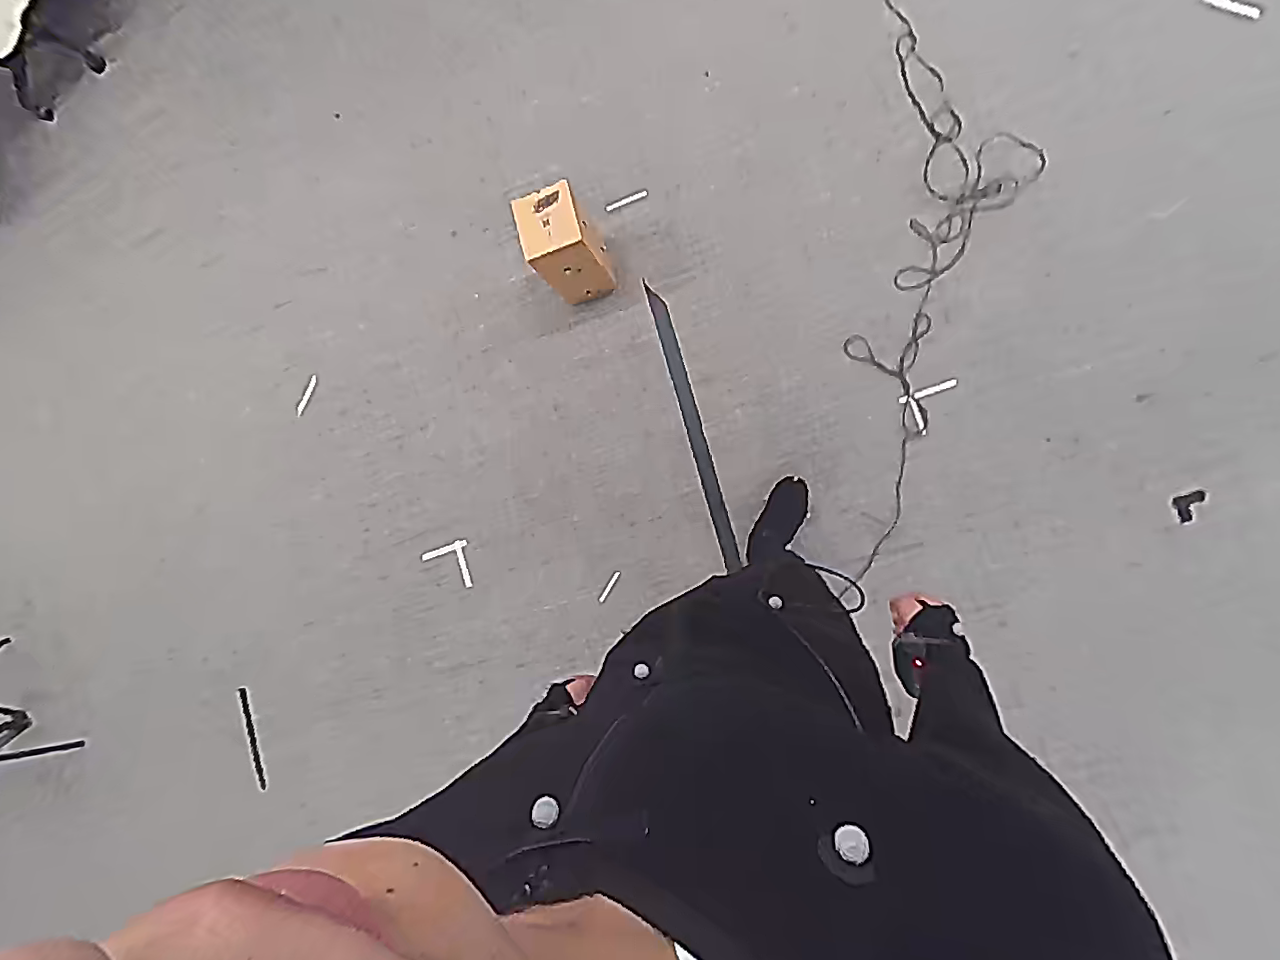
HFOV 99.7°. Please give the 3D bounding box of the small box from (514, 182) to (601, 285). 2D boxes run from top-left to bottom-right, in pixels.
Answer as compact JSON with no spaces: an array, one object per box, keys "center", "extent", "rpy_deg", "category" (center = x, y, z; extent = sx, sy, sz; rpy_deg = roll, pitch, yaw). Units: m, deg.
[{"center":[-0.224,-0.672,1.494],"extent":[0.168,0.176,0.179],"rpy_deg":[-16,85,12],"category":"small box"}]
